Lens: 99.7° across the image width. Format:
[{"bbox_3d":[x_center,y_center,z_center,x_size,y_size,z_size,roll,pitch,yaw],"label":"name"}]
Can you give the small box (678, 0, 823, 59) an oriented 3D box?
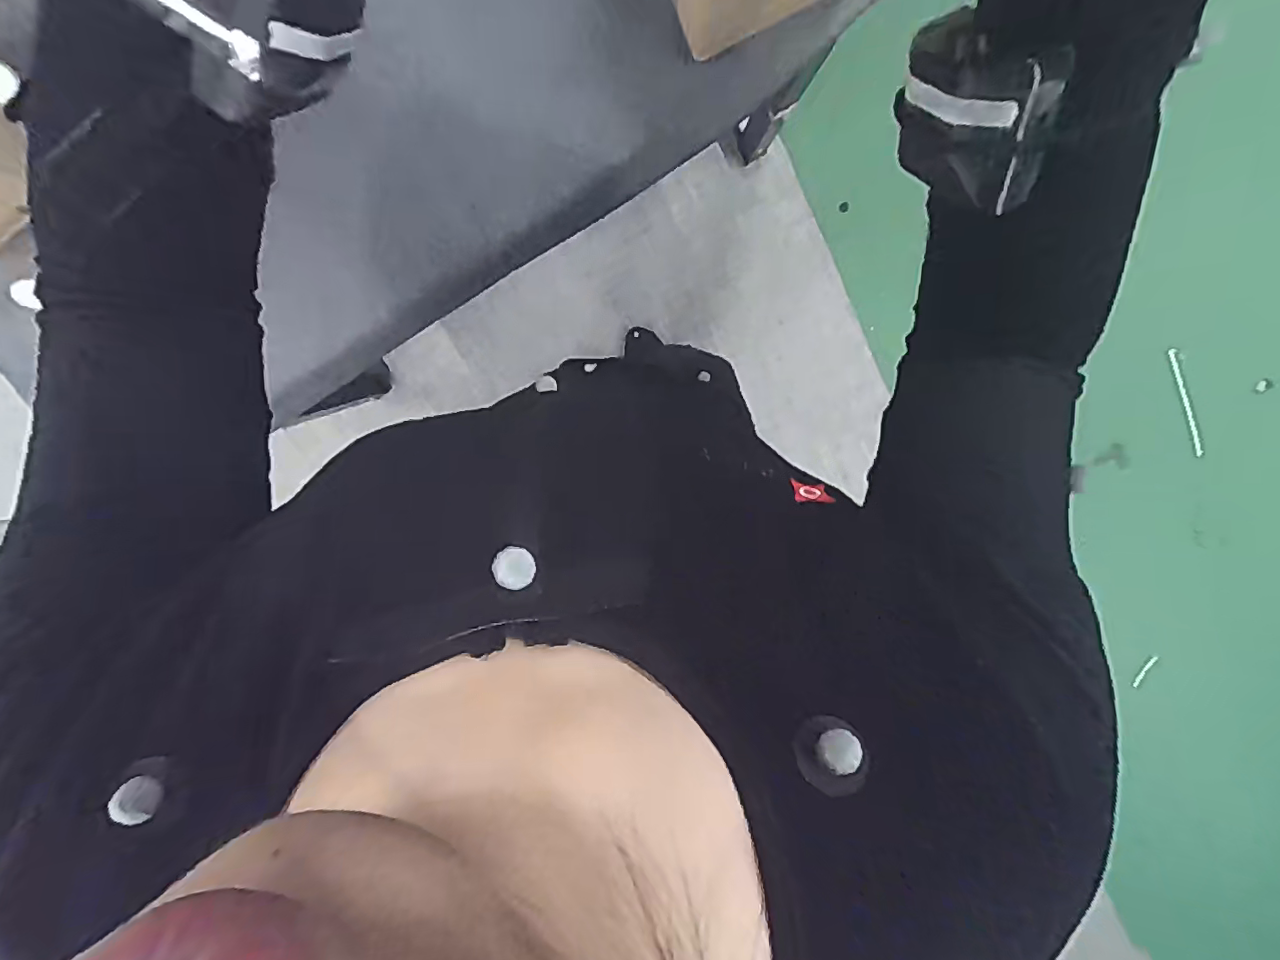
[{"bbox_3d":[0.105,-0.539,0.489,0.179,0.176,0.168,-22,102,9],"label":"small box"}]
